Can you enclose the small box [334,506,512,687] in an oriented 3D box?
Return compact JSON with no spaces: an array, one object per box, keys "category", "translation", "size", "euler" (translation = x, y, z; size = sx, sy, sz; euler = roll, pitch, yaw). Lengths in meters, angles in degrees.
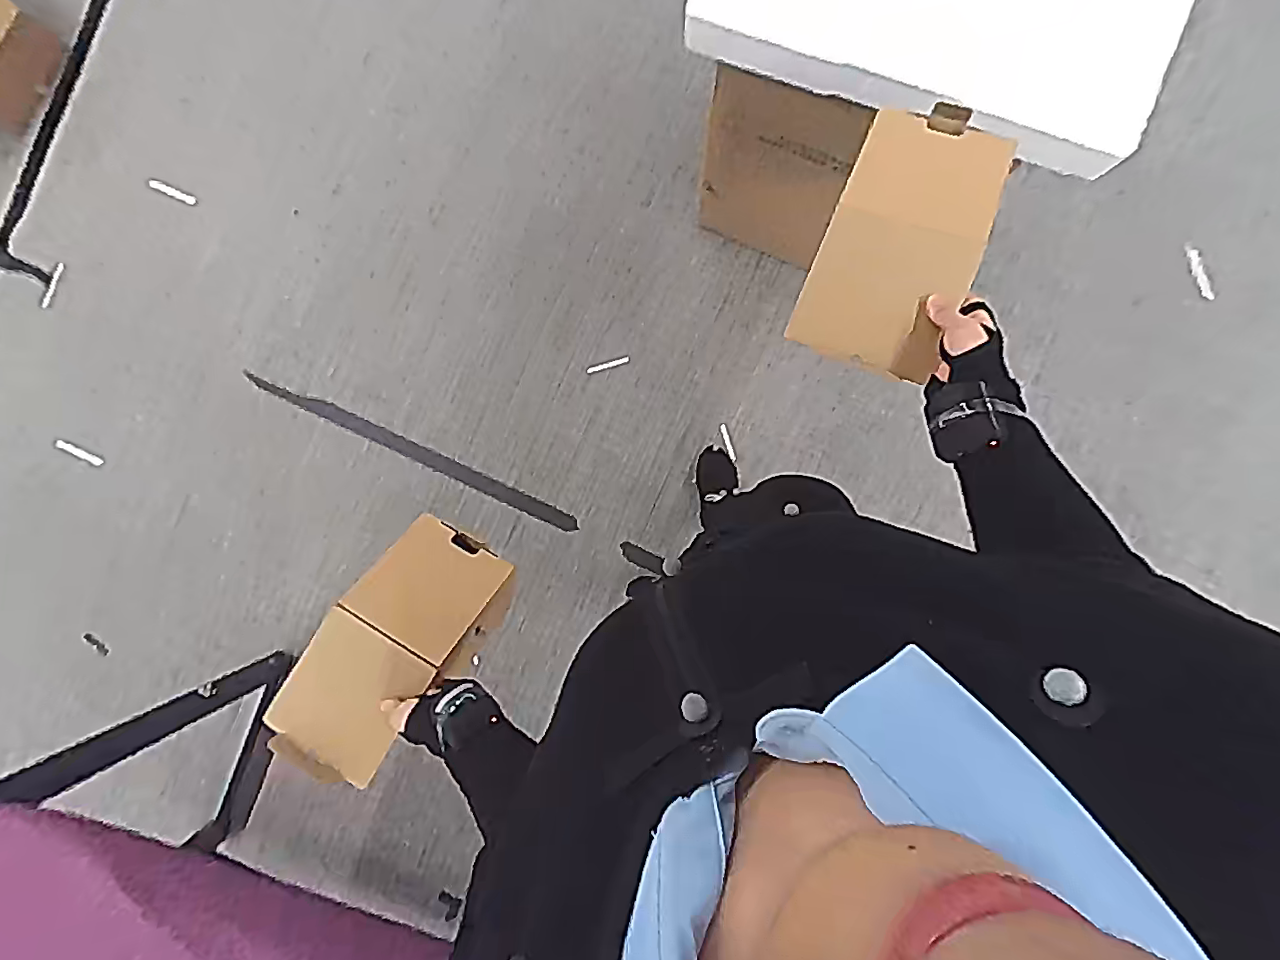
[{"category":"small box","translation":[-0.310,0.180,0.806],"size":[0.168,0.176,0.179],"euler":[31,54,4]}]
